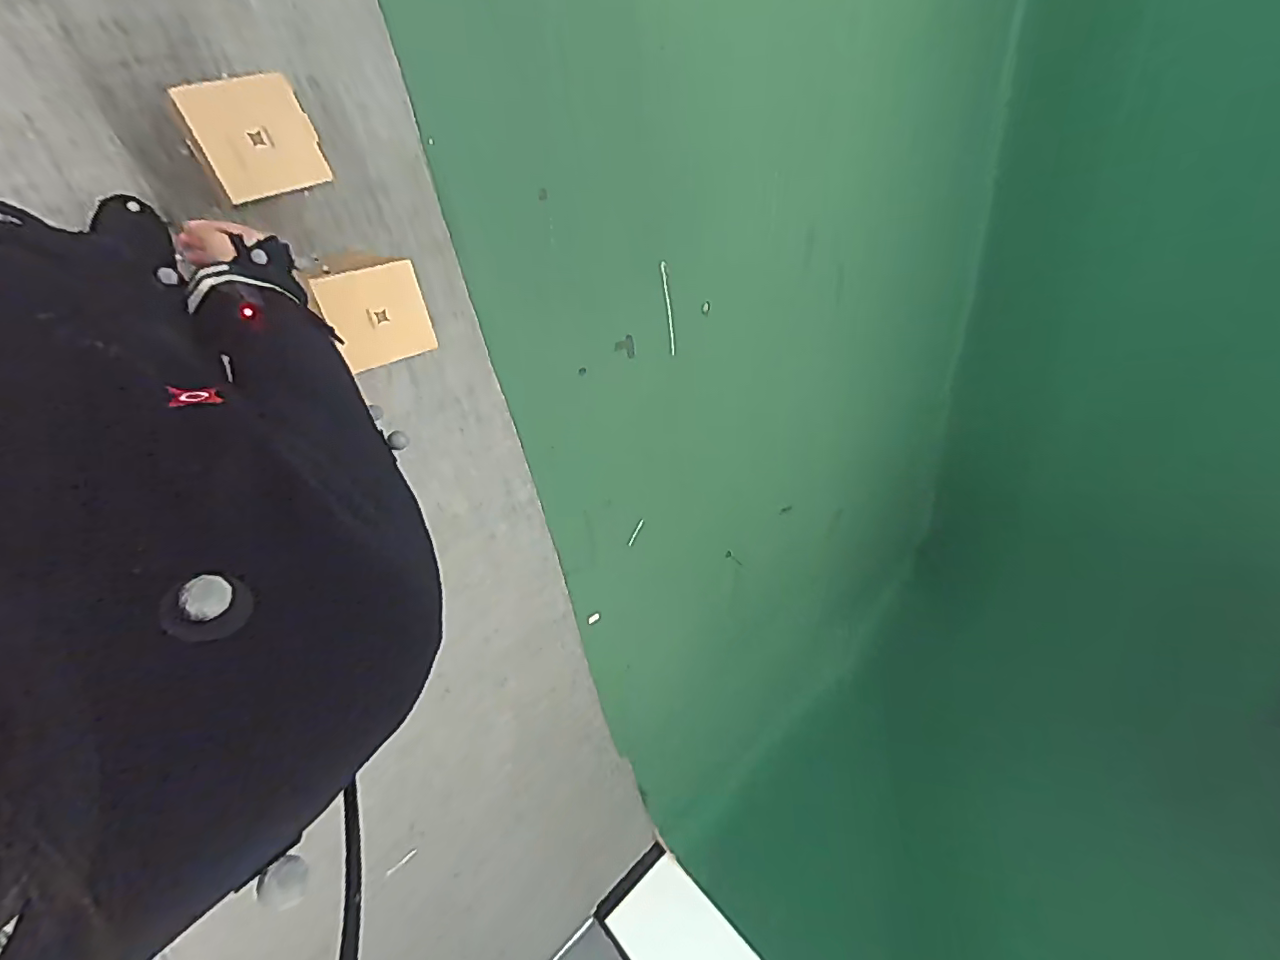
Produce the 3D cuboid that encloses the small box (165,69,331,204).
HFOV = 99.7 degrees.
[{"bbox_3d":[-0.688,-0.597,0.950,0.179,0.176,0.168,-35,129,-26],"label":"small box"}]

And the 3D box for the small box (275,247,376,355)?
[{"bbox_3d":[-0.625,-0.375,1.118,0.179,0.176,0.168,-30,129,-28],"label":"small box"}]

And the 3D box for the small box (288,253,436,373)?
[{"bbox_3d":[-0.517,-0.319,1.009,0.179,0.176,0.168,-30,128,-30],"label":"small box"}]
